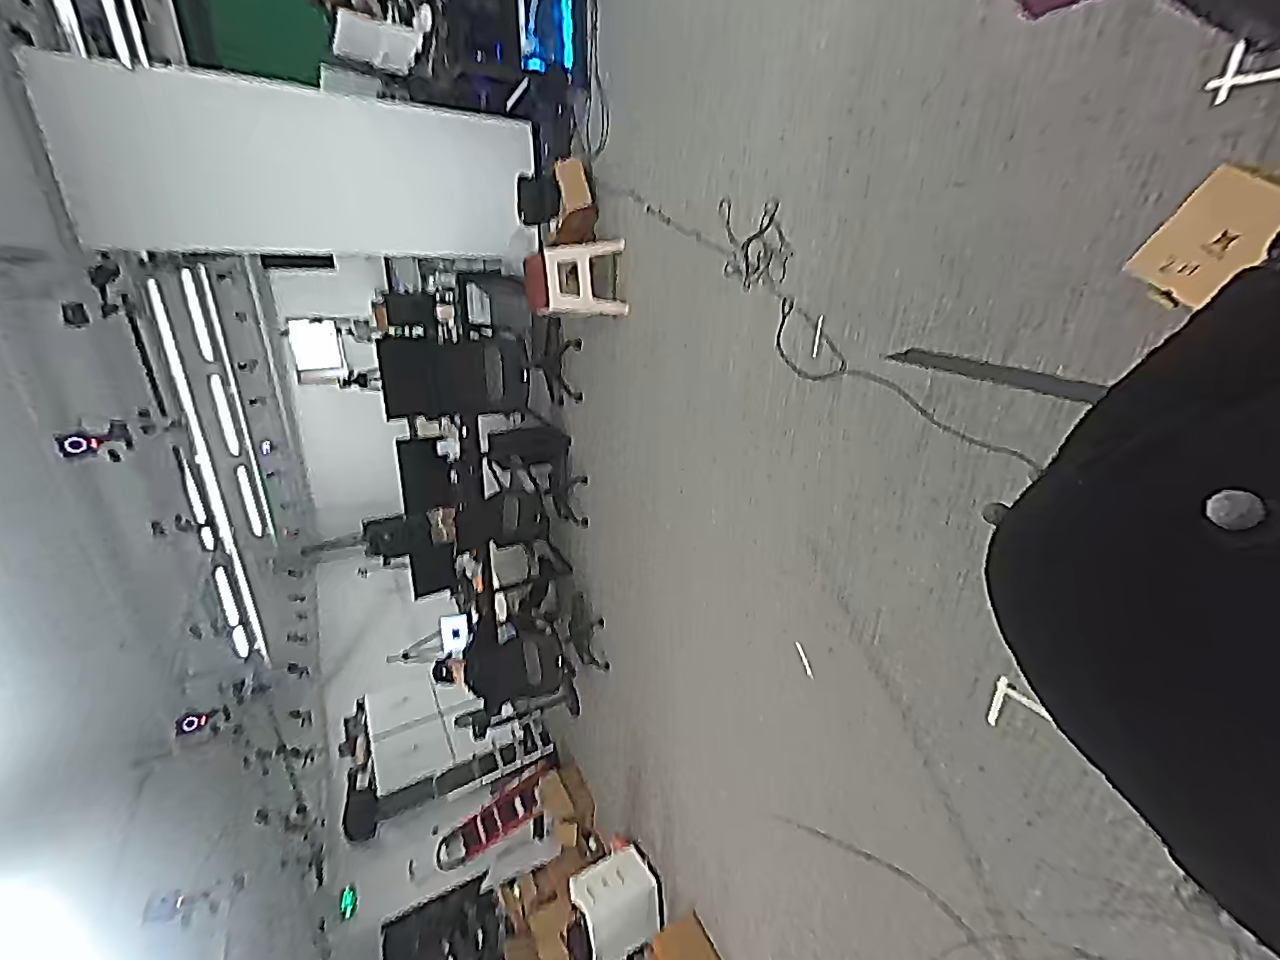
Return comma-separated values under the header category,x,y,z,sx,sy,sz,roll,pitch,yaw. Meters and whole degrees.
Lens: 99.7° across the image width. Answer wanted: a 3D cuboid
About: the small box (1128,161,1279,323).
category,x,y,z,sx,sy,sz,roll,pitch,yaw
small box,0.955,-0.374,0.858,0.168,0.176,0.179,59,148,31
